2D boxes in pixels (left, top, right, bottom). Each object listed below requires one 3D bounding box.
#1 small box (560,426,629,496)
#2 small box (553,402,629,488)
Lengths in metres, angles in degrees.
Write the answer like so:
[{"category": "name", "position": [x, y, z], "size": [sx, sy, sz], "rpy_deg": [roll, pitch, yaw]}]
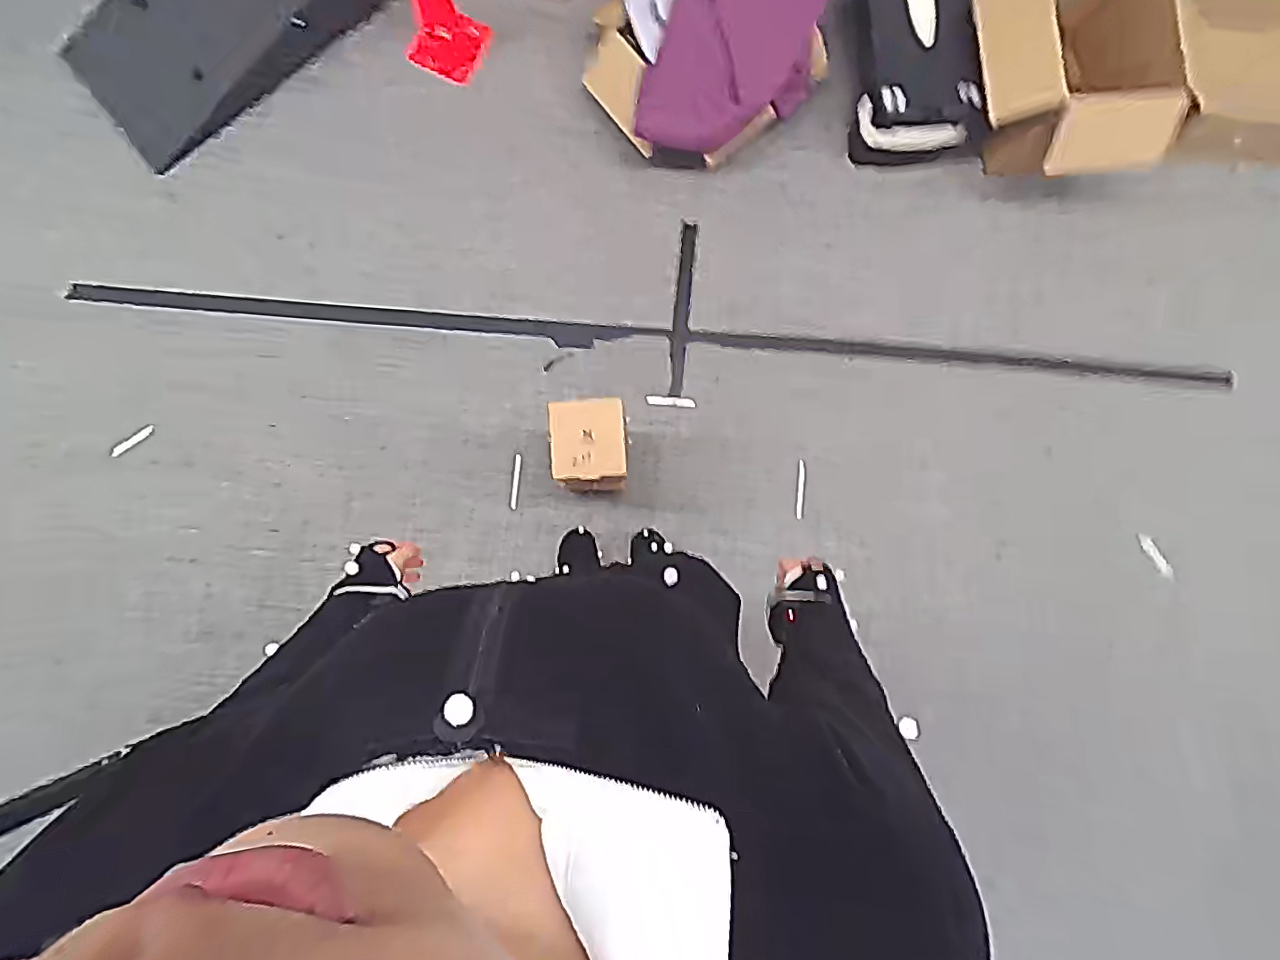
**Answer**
[{"category": "small box", "position": [-0.116, -0.051, 1.443], "size": [0.168, 0.176, 0.179], "rpy_deg": [2, 87, 1]}, {"category": "small box", "position": [-0.112, -0.077, 1.280], "size": [0.168, 0.176, 0.179], "rpy_deg": [-3, 85, 1]}]
